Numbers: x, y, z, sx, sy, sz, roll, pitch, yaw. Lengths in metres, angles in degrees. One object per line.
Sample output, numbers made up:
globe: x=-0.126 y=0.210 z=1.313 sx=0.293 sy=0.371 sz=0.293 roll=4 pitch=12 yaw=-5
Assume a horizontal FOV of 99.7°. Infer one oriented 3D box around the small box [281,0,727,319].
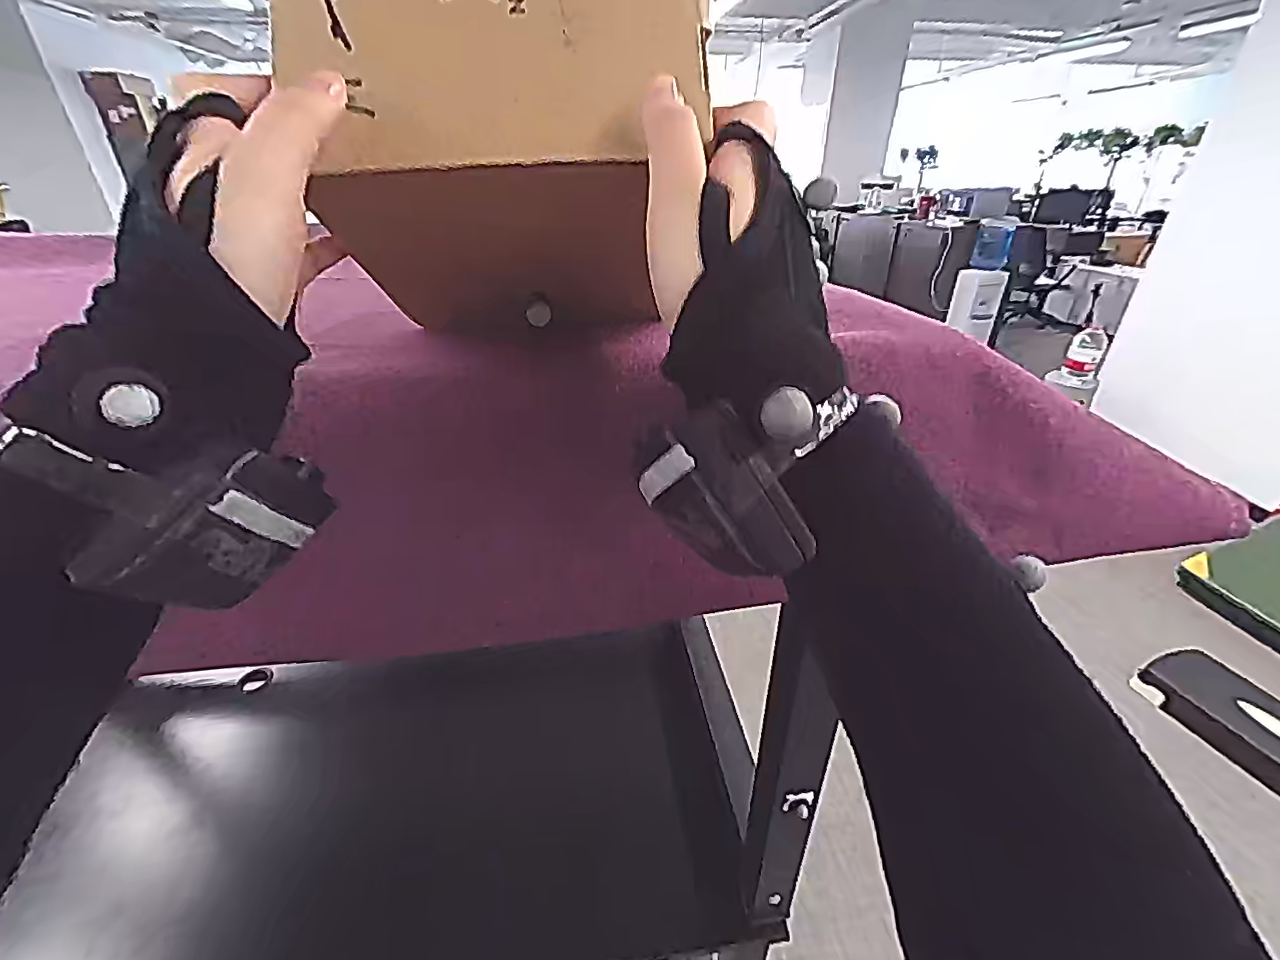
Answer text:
small box: x=-0.062 y=-0.198 z=0.298 sx=0.179 sy=0.168 sz=0.176 roll=-4 pitch=-4 yaw=-5
